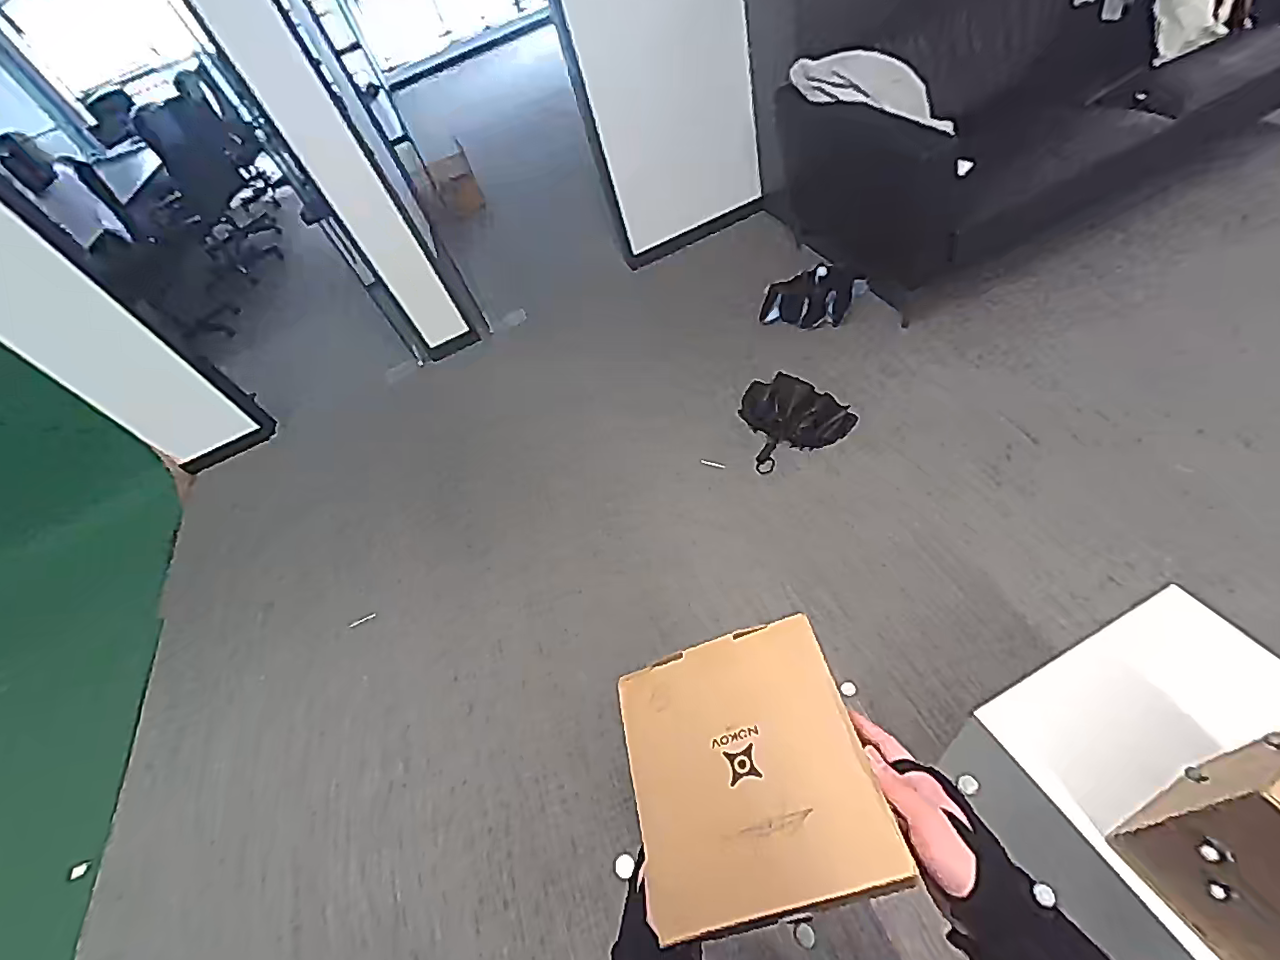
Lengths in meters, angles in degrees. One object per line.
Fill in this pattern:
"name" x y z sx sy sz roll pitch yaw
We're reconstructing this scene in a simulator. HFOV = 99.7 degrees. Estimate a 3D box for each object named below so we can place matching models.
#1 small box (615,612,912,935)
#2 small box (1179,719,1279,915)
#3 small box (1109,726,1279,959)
"small box" 0.096 0.242 0.441 0.168 0.176 0.179 -23 47 8
"small box" 0.652 0.314 0.483 0.179 0.176 0.168 -29 49 -9
"small box" 0.690 0.417 0.607 0.179 0.176 0.168 -30 49 -10
